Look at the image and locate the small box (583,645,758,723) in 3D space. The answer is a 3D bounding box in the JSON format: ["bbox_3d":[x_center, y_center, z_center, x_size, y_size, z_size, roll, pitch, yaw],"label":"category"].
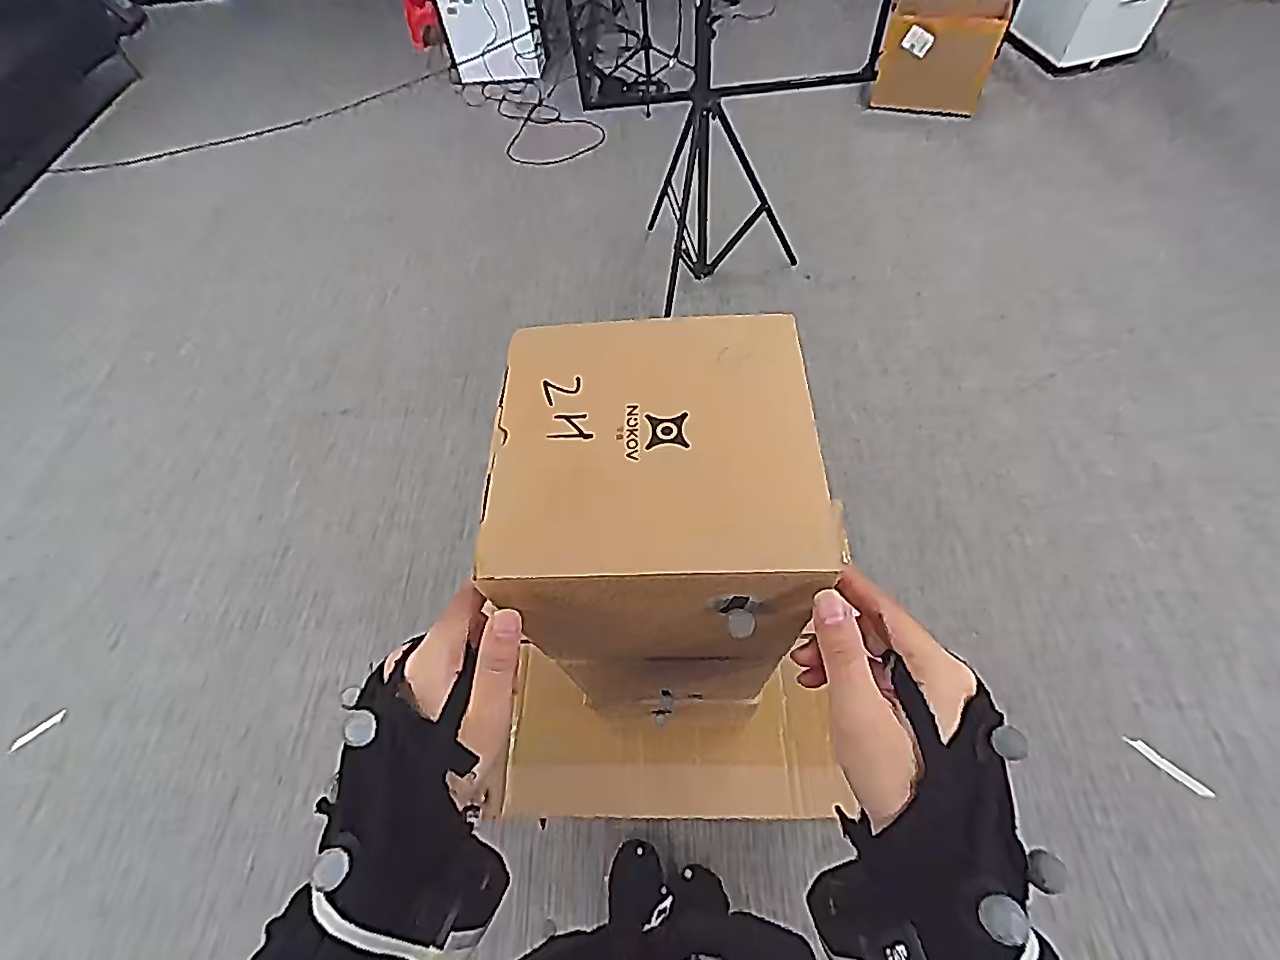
[{"bbox_3d":[0.038,0.188,0.638,0.179,0.176,0.168,-2,59,4],"label":"small box"}]

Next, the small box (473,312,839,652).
[{"bbox_3d":[0.012,0.012,0.361,0.179,0.176,0.168,-2,59,4],"label":"small box"}]
